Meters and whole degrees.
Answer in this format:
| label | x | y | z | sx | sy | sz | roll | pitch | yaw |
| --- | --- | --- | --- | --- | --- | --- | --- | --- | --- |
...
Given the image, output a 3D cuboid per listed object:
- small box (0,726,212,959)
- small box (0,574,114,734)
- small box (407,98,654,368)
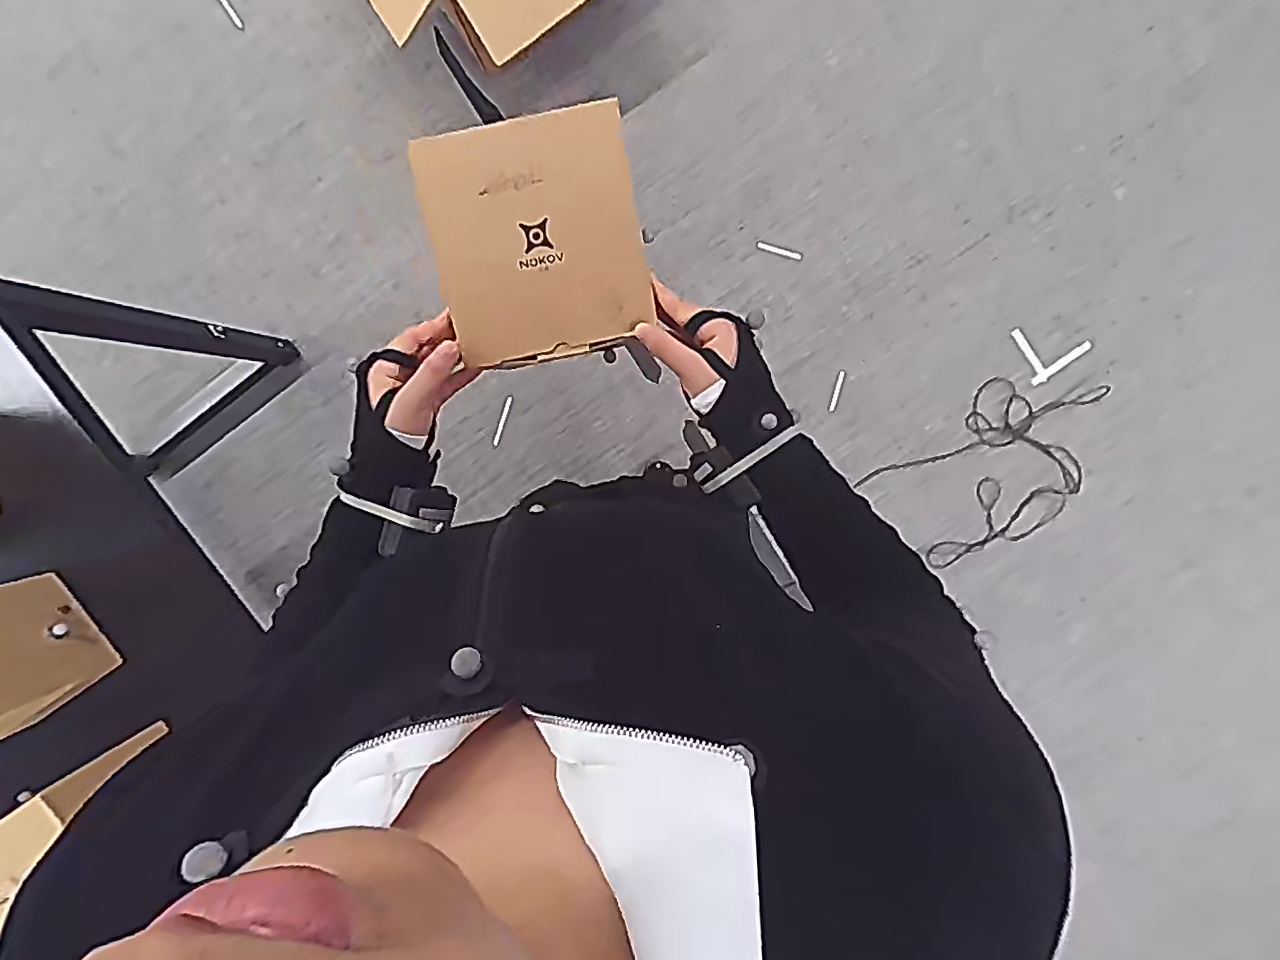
| label | x | y | z | sx | sy | sz | roll | pitch | yaw |
| --- | --- | --- | --- | --- | --- | --- | --- | --- | --- |
| small box | -0.741 | 0.477 | 0.737 | 0.179 | 0.176 | 0.168 | -34 | 94 | 5 |
| small box | -0.881 | 0.253 | 0.717 | 0.179 | 0.176 | 0.168 | -33 | 95 | 4 |
| small box | -0.083 | -0.208 | 0.504 | 0.168 | 0.176 | 0.179 | -12 | 102 | 1 |
